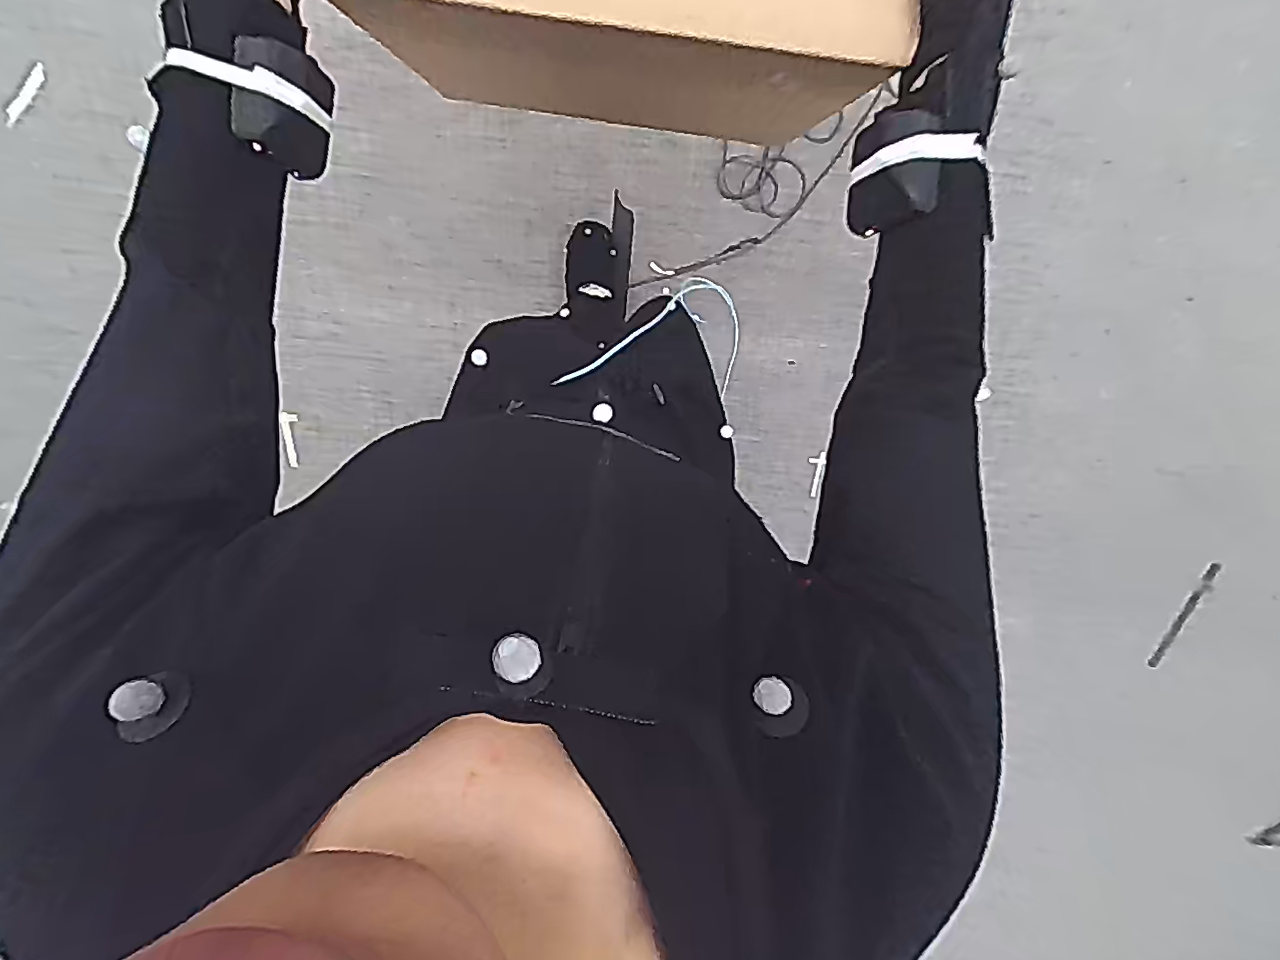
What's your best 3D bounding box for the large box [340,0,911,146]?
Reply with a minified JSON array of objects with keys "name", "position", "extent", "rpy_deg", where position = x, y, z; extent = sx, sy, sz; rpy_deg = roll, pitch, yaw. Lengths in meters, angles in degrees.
[{"name":"large box","position":[-0.006,-0.504,0.450],"extent":[0.408,0.320,0.320],"rpy_deg":[5,113,-5]}]
